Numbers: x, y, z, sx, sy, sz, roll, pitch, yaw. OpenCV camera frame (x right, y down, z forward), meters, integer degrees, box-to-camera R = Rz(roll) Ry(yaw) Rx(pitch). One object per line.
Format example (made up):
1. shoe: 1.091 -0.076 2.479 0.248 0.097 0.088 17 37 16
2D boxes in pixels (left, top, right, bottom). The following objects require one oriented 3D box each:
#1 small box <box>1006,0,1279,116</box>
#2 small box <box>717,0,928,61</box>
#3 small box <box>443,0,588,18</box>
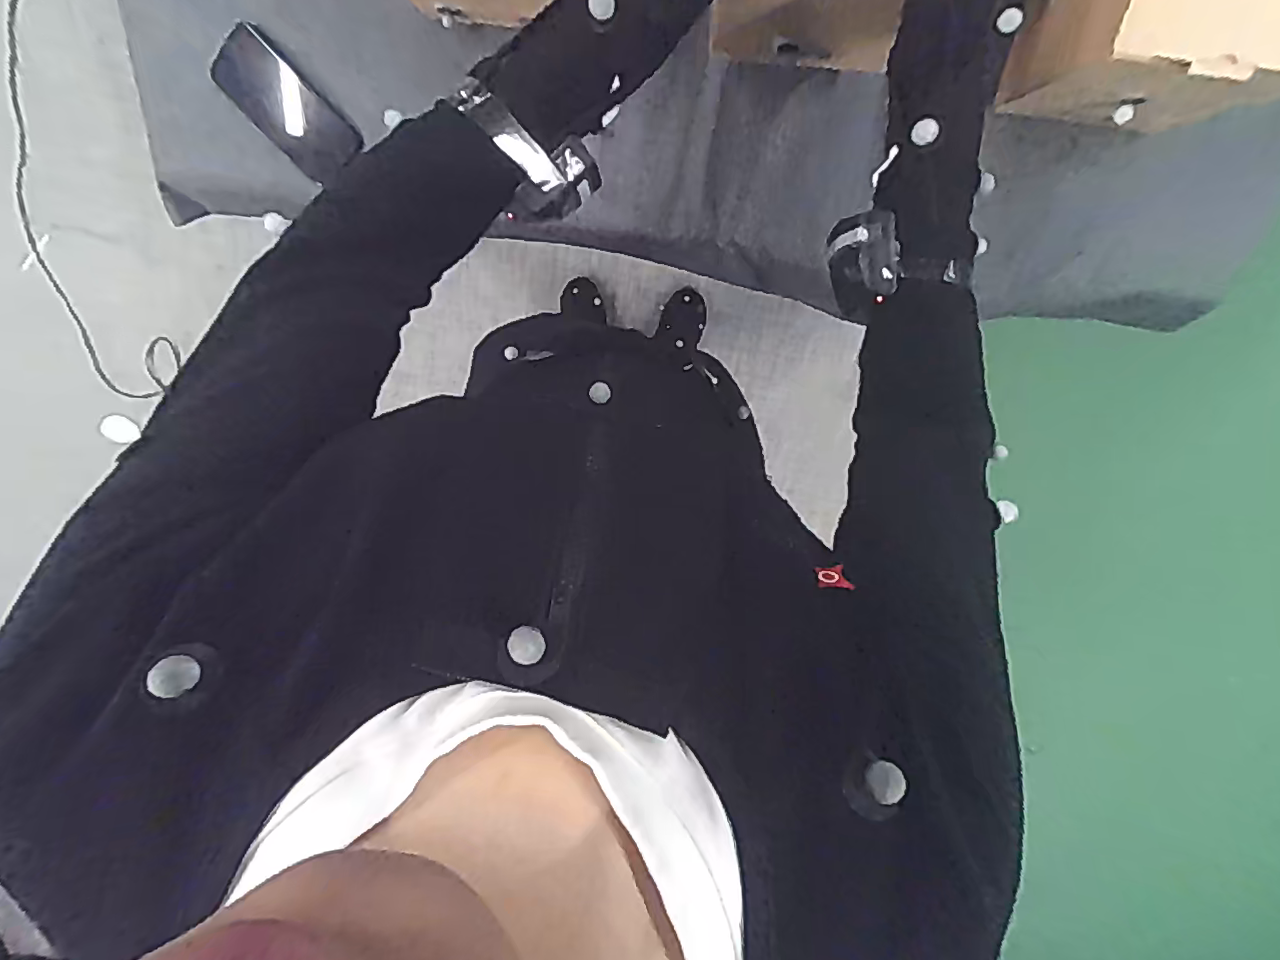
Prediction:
1. small box: 0.441 -0.417 0.436 0.168 0.176 0.179 8 114 1
2. small box: 0.148 -0.455 0.402 0.168 0.176 0.179 7 108 6
3. small box: -0.129 -0.514 0.437 0.168 0.176 0.179 6 113 1
